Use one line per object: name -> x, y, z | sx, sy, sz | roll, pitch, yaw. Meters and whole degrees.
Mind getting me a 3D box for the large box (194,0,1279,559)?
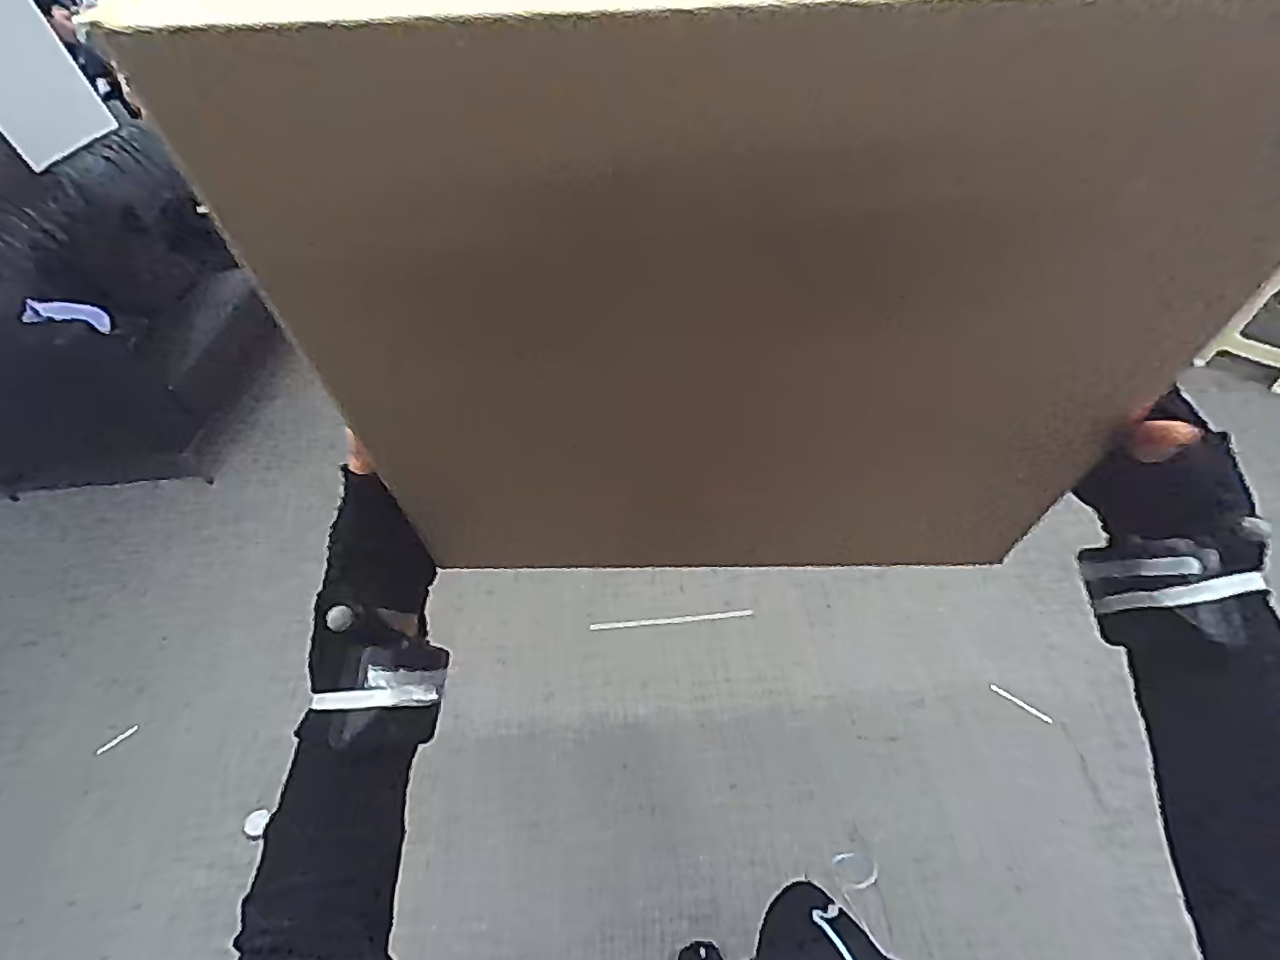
large box -> 0.057, -0.154, 0.374 | 0.408, 0.320, 0.320 | 0, 52, 1
